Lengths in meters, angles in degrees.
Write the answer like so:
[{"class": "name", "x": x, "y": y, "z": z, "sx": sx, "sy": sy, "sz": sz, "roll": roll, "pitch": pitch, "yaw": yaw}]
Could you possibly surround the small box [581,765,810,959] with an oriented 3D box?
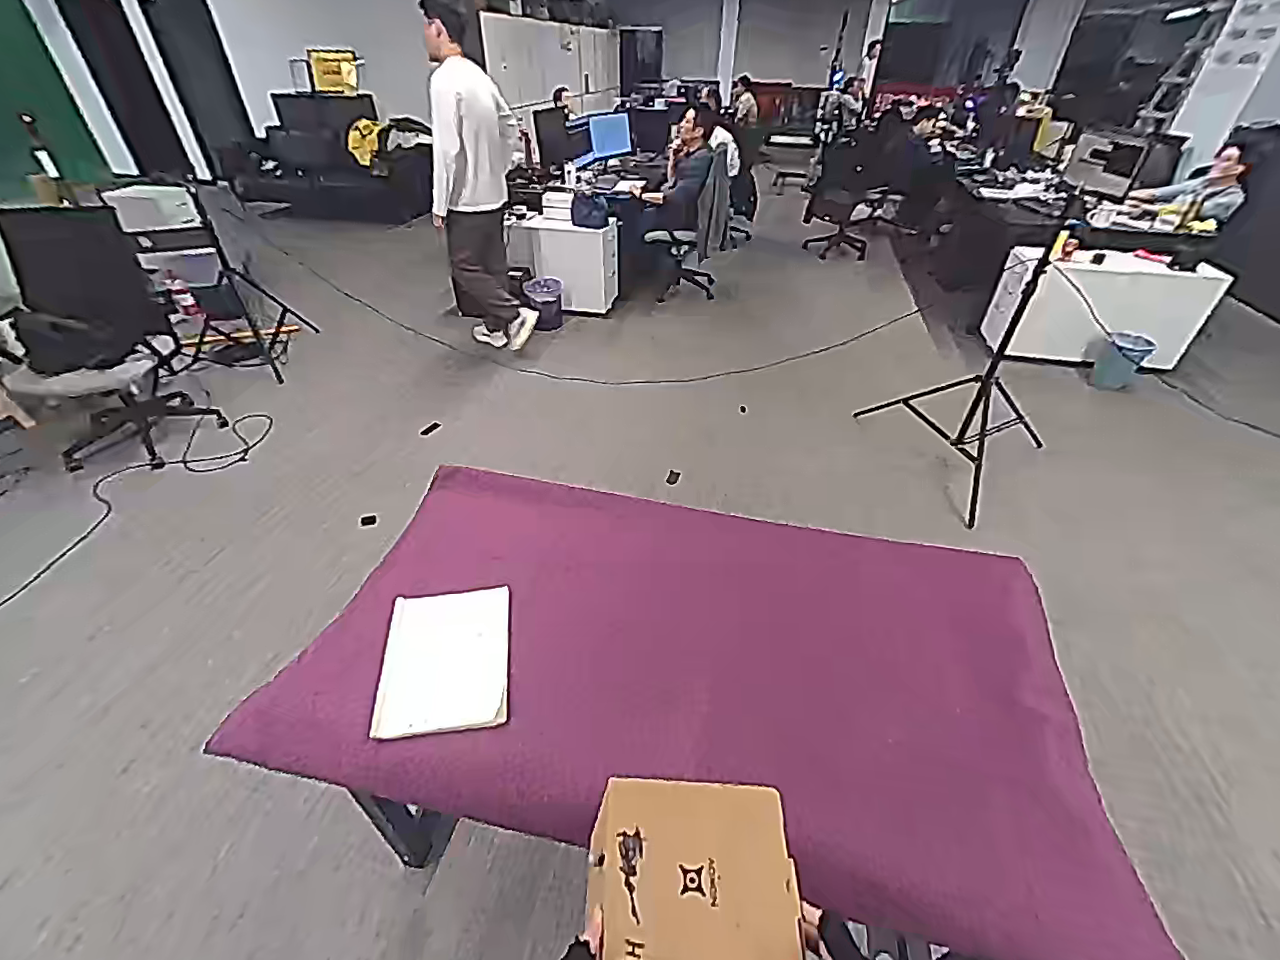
[{"class": "small box", "x": 0.043, "y": 0.406, "z": 0.530, "sx": 0.179, "sy": 0.176, "sz": 0.168, "roll": 8, "pitch": 40, "yaw": -5}]
